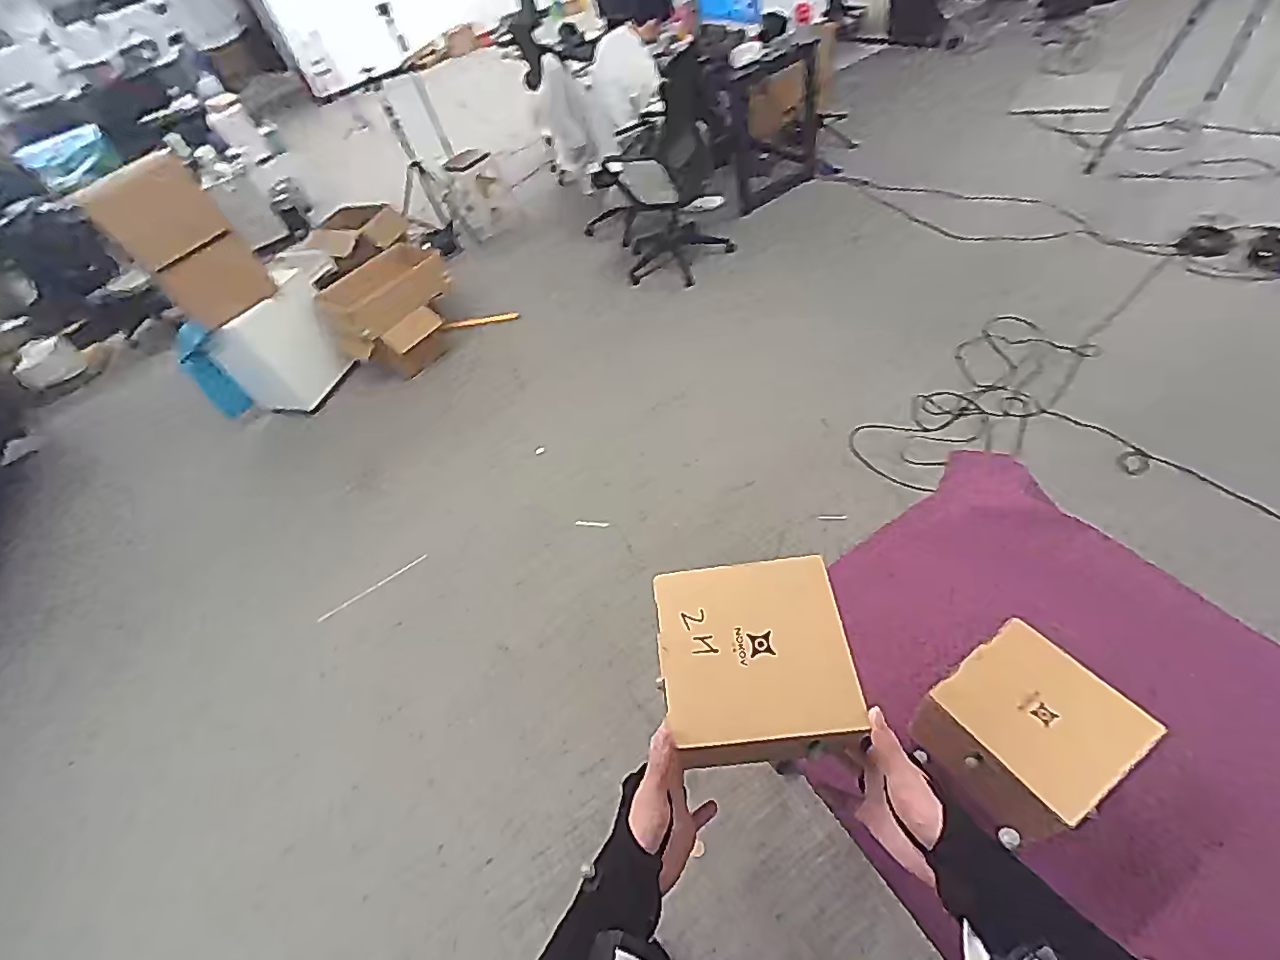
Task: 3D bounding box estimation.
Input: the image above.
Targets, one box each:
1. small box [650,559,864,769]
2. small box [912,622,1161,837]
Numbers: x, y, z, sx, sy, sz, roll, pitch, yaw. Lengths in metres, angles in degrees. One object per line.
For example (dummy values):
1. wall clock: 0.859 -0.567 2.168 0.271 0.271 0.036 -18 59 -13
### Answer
1. small box: 0.110 0.200 0.572 0.179 0.176 0.168 -8 55 4
2. small box: 0.485 0.324 0.694 0.168 0.176 0.179 -33 49 -12
